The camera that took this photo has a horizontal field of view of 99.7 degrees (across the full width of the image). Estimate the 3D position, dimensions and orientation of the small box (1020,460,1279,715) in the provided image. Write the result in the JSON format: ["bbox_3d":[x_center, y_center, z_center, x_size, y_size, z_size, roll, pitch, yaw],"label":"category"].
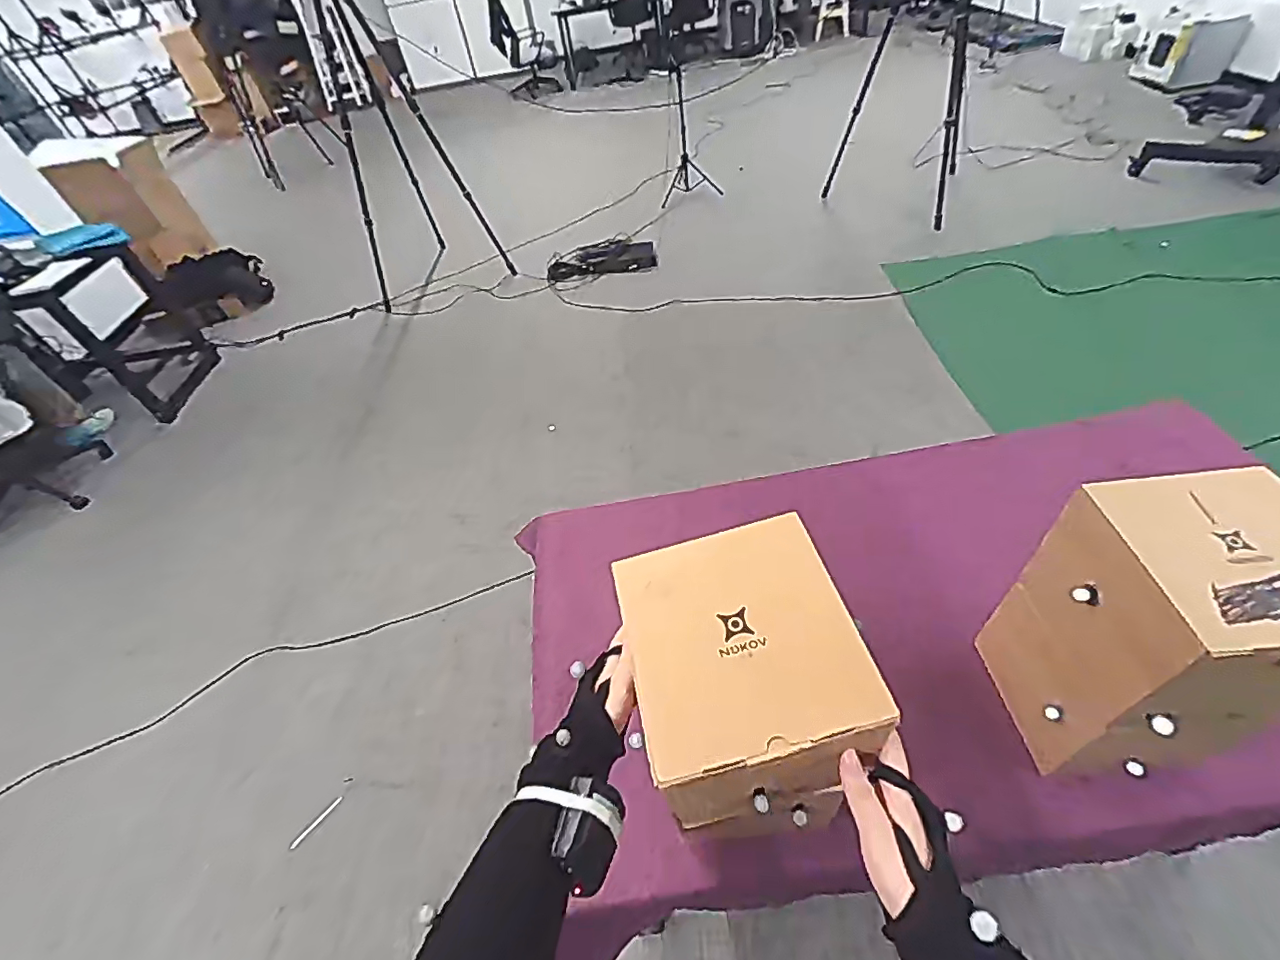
[{"bbox_3d":[0.509,0.109,0.511,0.168,0.176,0.179,-7,46,6],"label":"small box"}]

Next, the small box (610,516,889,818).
[{"bbox_3d":[0.081,0.163,0.467,0.168,0.176,0.179,-16,50,0],"label":"small box"}]

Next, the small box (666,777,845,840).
[{"bbox_3d":[0.120,0.307,0.638,0.179,0.176,0.168,-9,46,4],"label":"small box"}]
